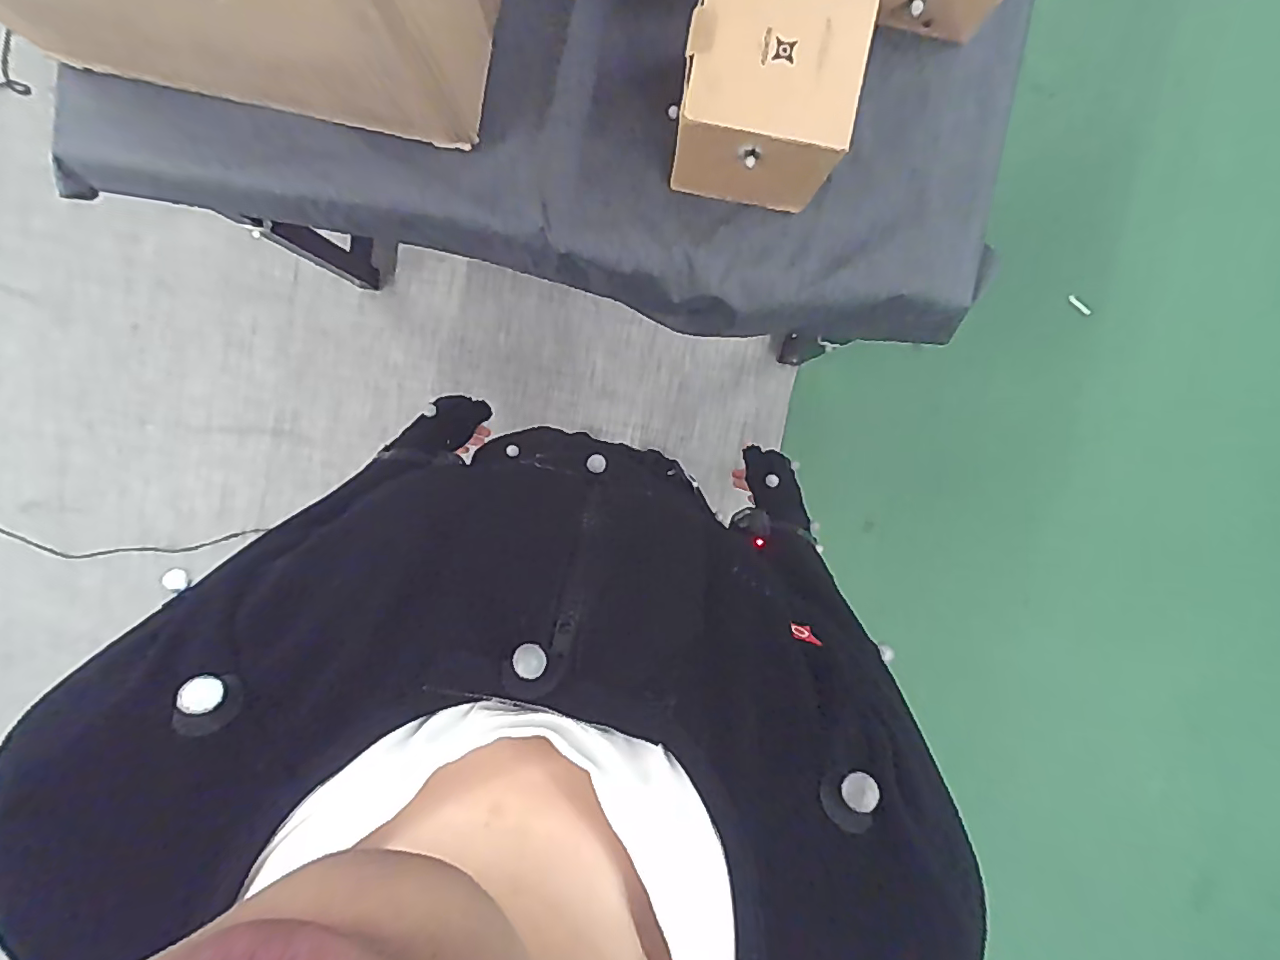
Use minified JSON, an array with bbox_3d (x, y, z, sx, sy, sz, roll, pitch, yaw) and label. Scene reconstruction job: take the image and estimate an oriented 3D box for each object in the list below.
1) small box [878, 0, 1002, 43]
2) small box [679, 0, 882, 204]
[{"bbox_3d":[0.360,-0.653,0.605,0.168,0.176,0.179,13,96,-1],"label":"small box"},{"bbox_3d":[0.146,-0.444,0.623,0.179,0.176,0.168,10,96,-2],"label":"small box"}]
